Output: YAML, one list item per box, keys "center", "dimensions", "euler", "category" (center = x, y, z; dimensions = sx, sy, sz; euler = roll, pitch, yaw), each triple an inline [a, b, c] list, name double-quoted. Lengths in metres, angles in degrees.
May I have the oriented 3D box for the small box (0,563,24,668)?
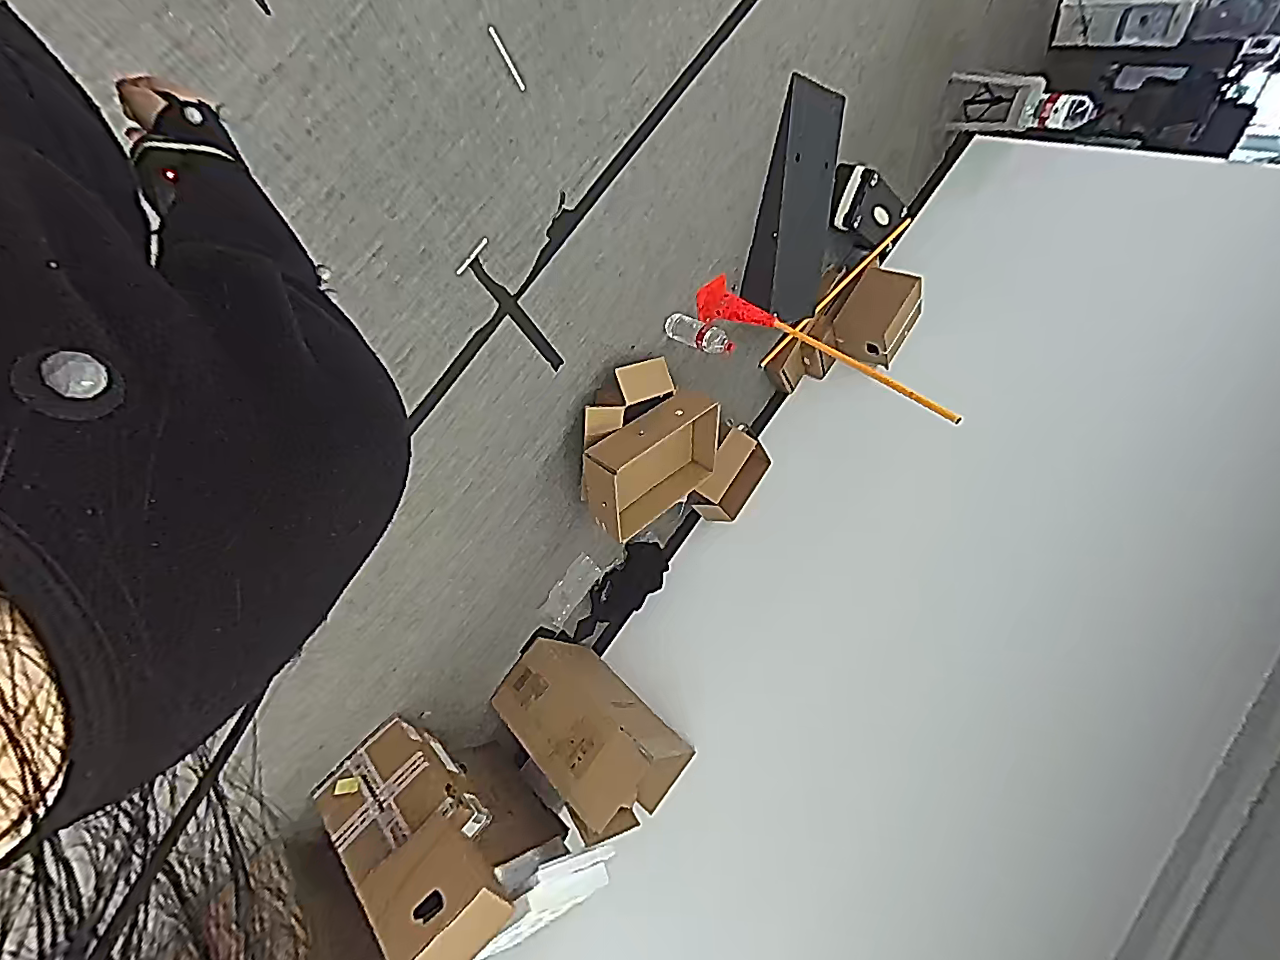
- center: [-1.350, 0.272, 1.054]
  dimensions: [0.168, 0.176, 0.179]
  euler: [-13, 128, -46]
  category: "small box"
